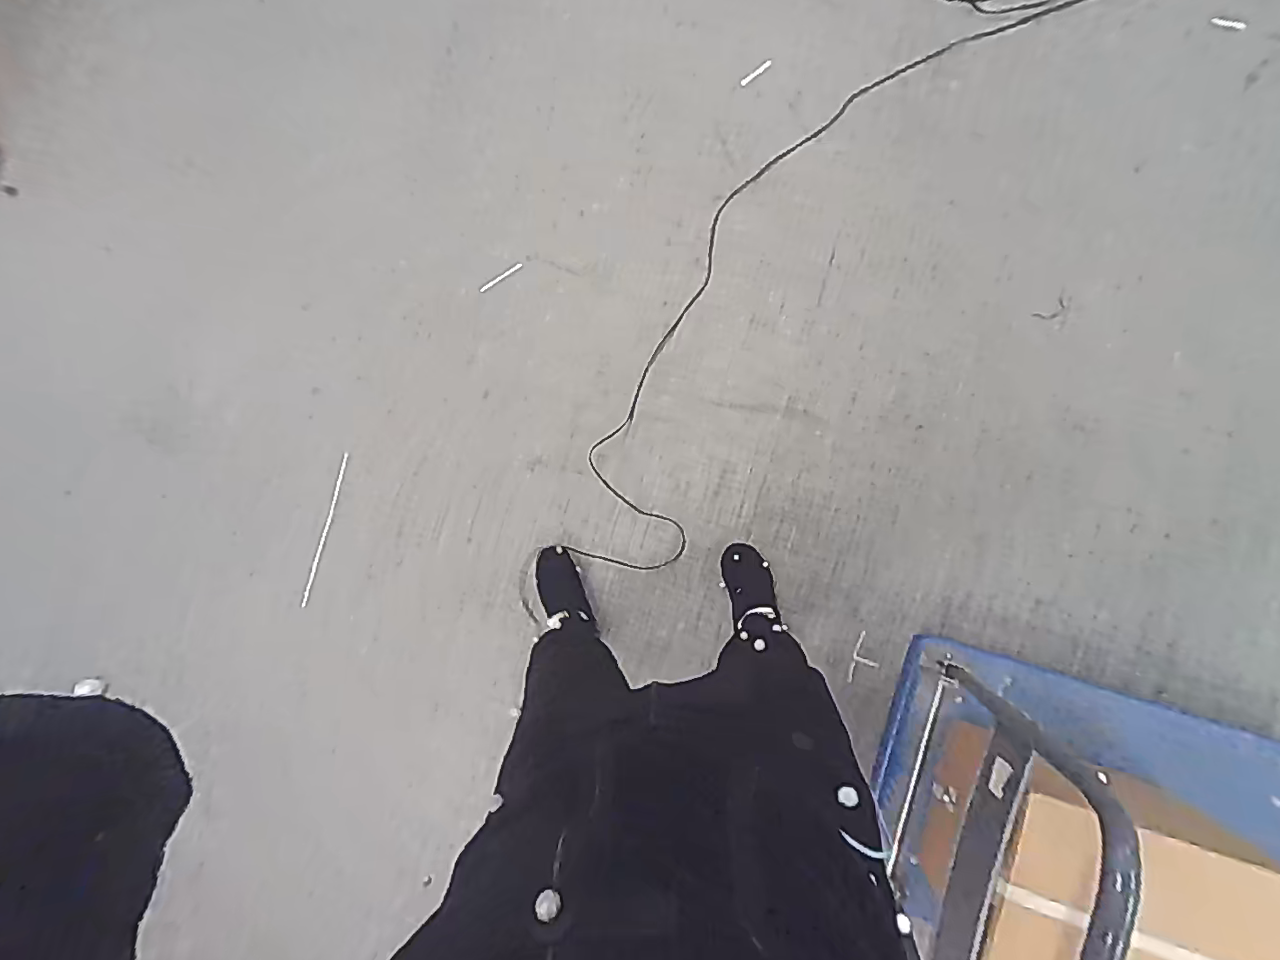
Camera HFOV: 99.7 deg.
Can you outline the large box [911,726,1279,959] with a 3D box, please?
[{"bbox_3d":[0.768,0.699,0.965,0.408,0.320,0.320,15,89,10],"label":"large box"}]
